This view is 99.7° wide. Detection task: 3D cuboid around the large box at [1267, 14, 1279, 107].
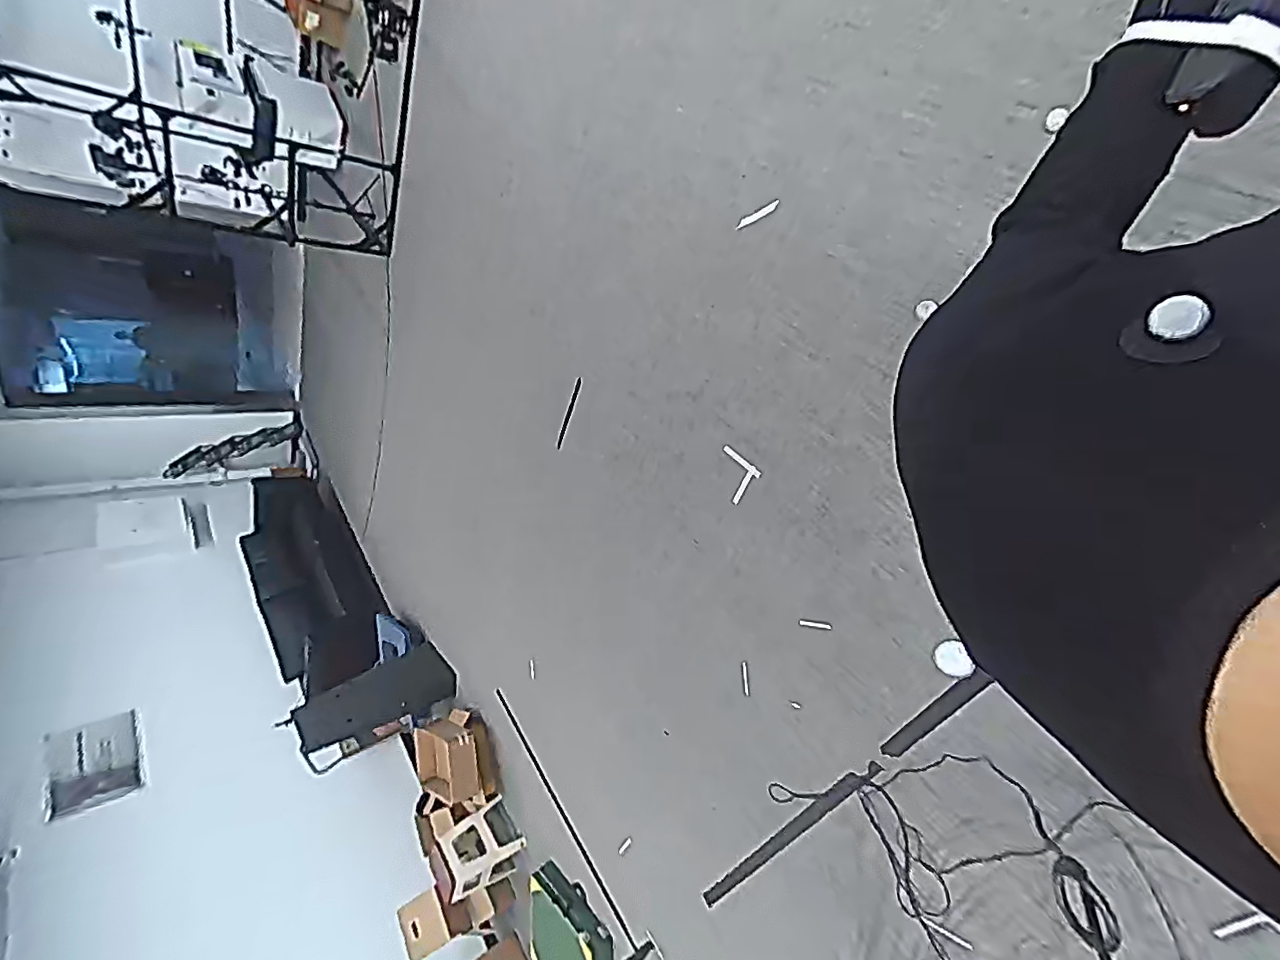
[{"bbox_3d":[0.638,-0.360,0.228,0.408,0.320,0.320,34,129,35],"label":"large box"}]
